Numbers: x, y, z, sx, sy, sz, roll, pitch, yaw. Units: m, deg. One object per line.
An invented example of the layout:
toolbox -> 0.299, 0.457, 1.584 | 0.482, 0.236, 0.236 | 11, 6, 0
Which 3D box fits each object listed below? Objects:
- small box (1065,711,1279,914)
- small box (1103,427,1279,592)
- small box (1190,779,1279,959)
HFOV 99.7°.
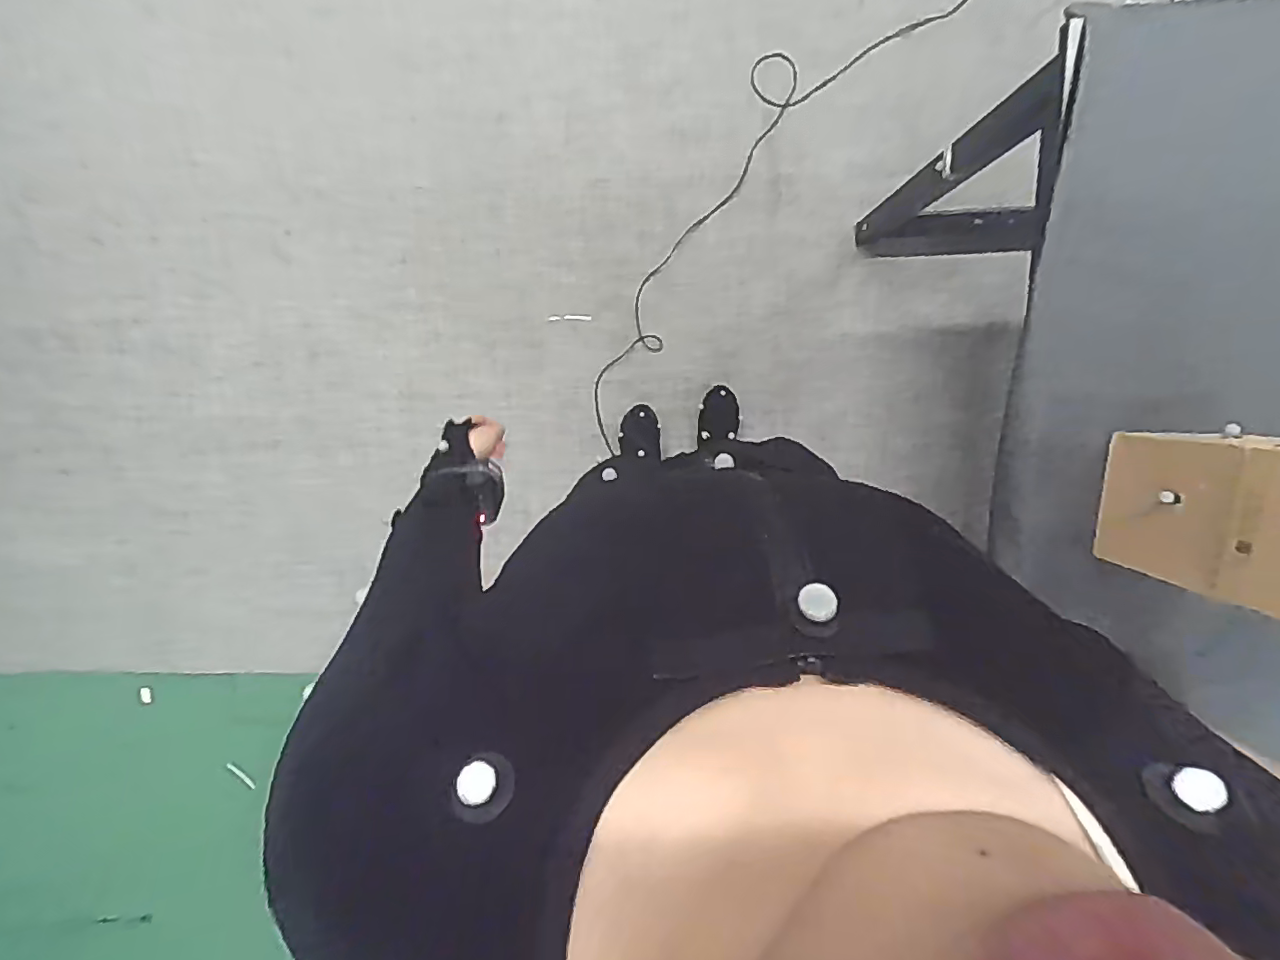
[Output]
small box -> 0.721, 0.426, 0.711 | 0.179, 0.176, 0.168 | 4, 98, -1
small box -> 0.714, 0.026, 0.654 | 0.168, 0.176, 0.179 | 1, 98, 0
small box -> 0.724, 0.439, 0.550 | 0.168, 0.176, 0.179 | -4, 97, -2
